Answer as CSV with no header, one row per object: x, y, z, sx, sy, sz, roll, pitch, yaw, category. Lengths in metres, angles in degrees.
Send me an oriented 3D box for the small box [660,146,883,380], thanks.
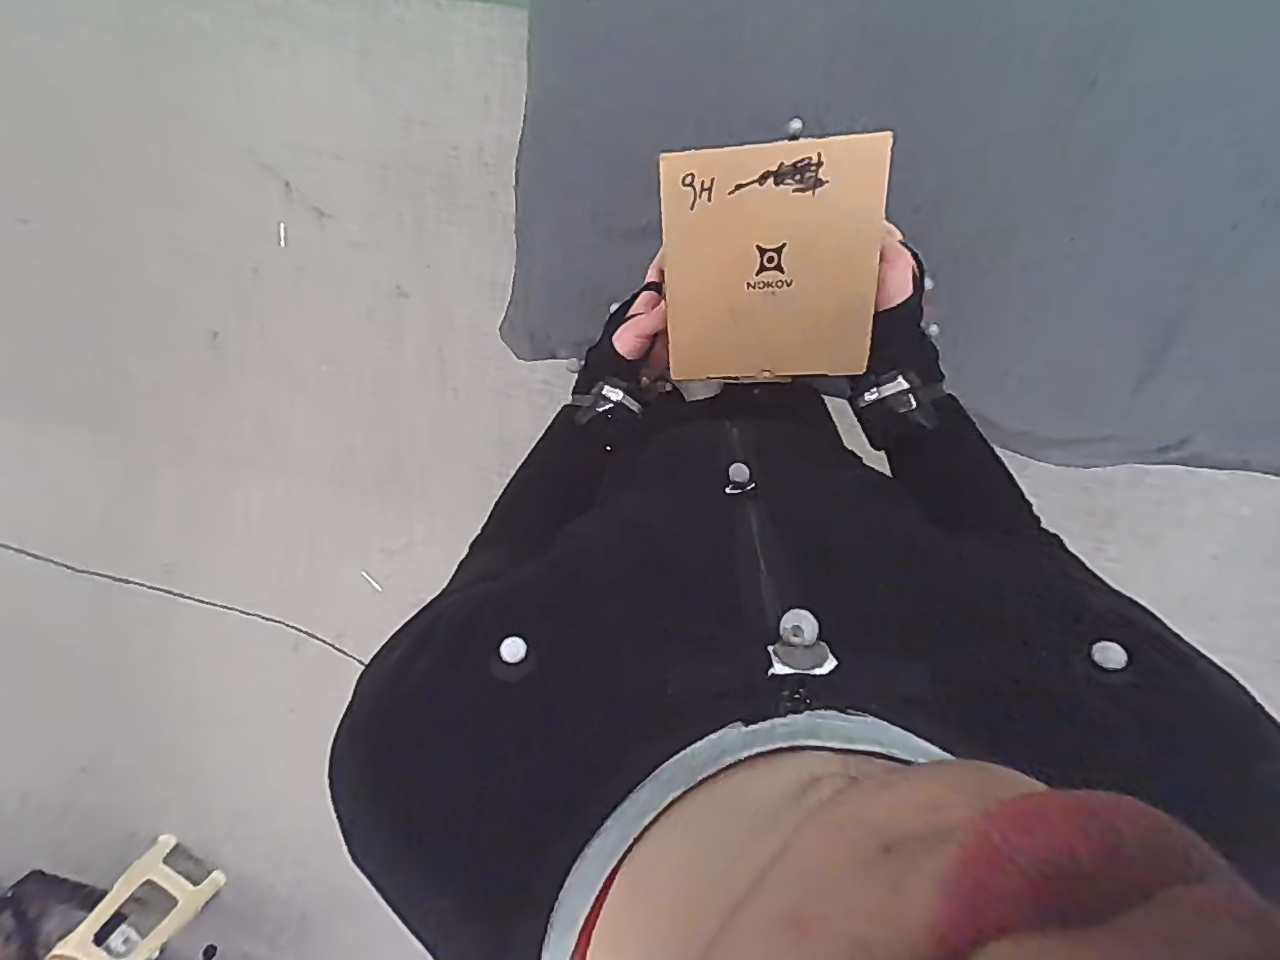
0.110,-0.205,0.509,0.168,0.176,0.179,-1,119,7,small box
